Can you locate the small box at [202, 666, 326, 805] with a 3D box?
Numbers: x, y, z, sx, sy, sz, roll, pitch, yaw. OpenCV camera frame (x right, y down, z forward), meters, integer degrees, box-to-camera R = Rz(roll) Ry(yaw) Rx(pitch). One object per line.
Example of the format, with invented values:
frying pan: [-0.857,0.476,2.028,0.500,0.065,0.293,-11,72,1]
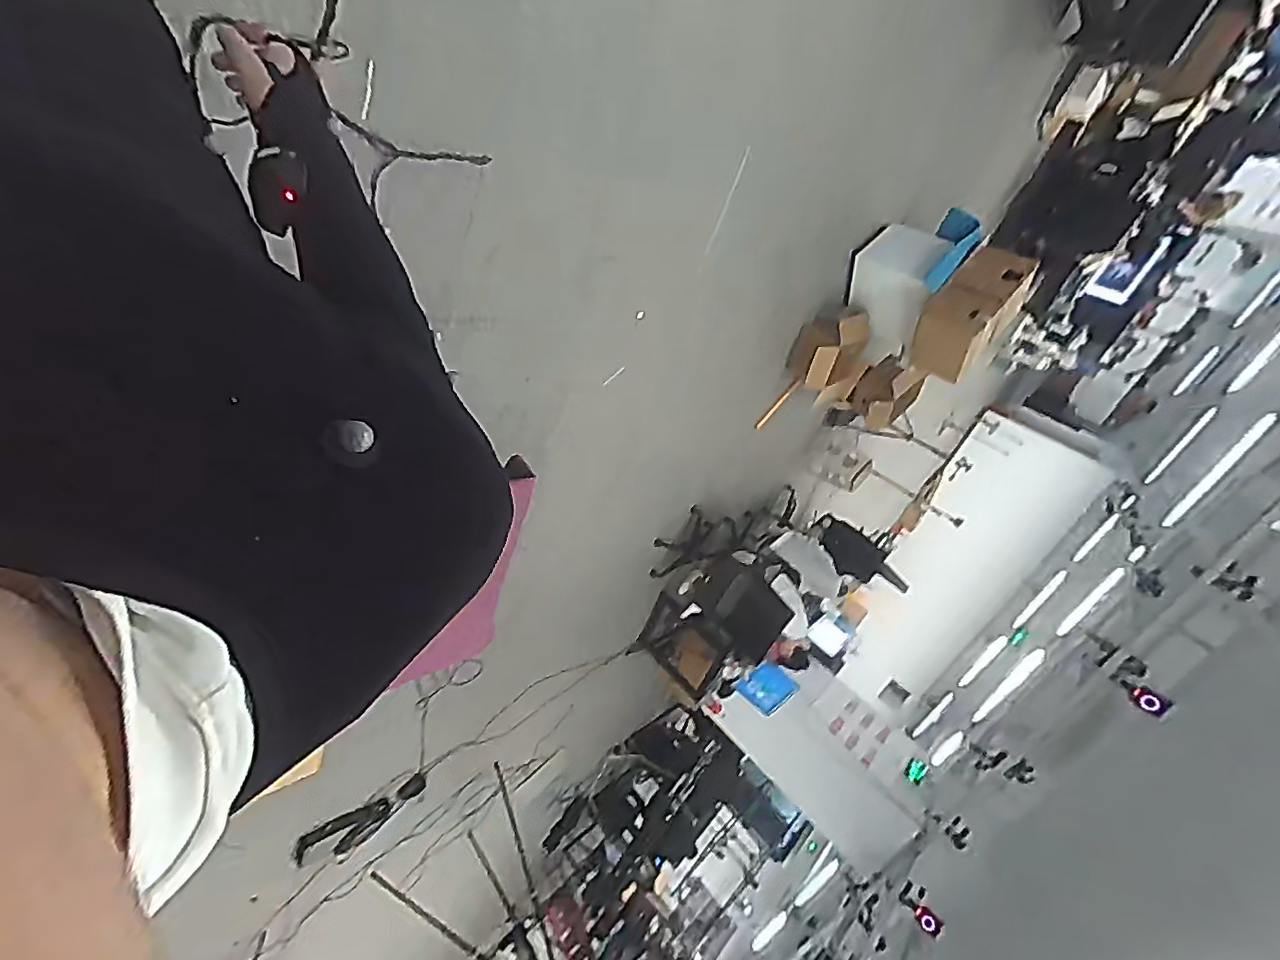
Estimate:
small box: [-0.782,0.513,1.121,0.168,0.176,0.179,-7,129,-50]
